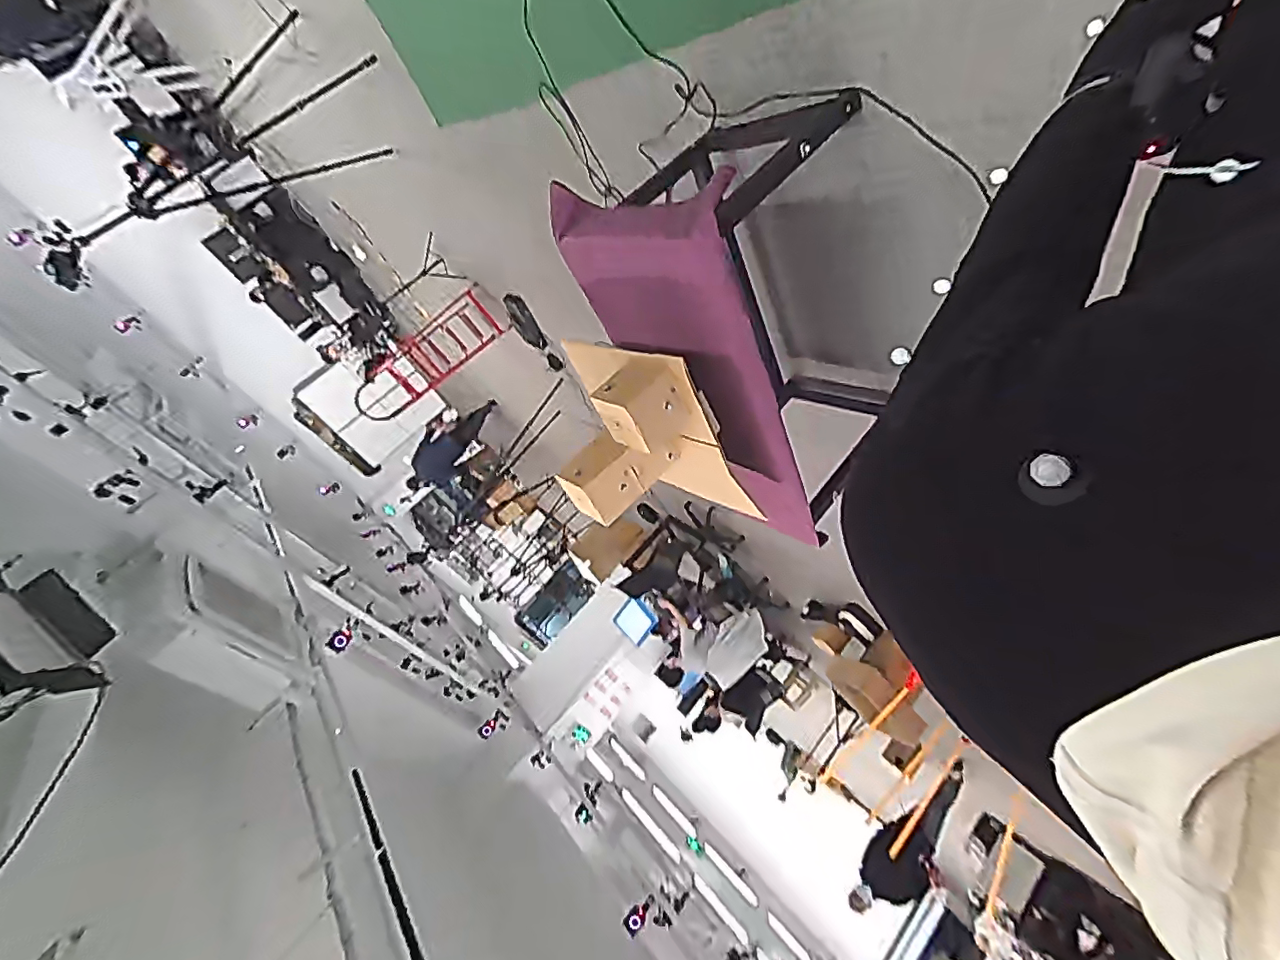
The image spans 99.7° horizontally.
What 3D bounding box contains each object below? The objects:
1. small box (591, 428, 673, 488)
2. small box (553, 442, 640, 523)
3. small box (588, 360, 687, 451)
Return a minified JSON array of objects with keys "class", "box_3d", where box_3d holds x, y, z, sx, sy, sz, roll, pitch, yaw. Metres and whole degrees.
[{"class":"small box","box_3d":[-0.016,-0.105,1.719,0.179,0.176,0.168,25,152,49]},{"class":"small box","box_3d":[-0.131,0.000,1.674,0.179,0.176,0.168,22,150,49]},{"class":"small box","box_3d":[-0.003,-0.209,1.475,0.179,0.176,0.168,24,153,47]}]
